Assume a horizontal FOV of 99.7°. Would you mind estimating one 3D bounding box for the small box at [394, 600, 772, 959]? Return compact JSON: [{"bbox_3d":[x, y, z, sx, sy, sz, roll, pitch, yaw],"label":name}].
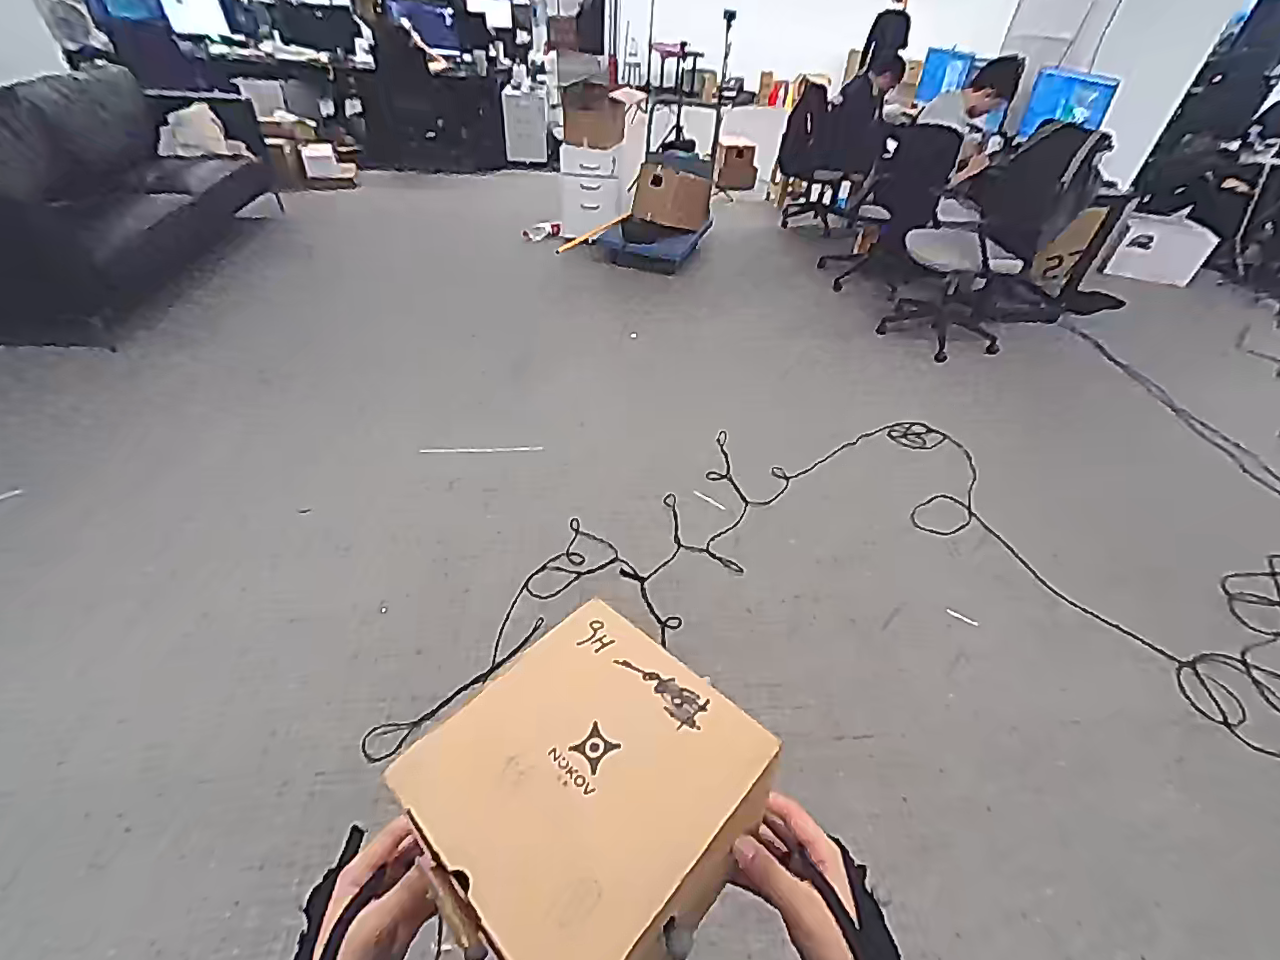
[{"bbox_3d":[-0.029,0.228,0.378,0.168,0.176,0.179,30,50,33],"label":"small box"}]
